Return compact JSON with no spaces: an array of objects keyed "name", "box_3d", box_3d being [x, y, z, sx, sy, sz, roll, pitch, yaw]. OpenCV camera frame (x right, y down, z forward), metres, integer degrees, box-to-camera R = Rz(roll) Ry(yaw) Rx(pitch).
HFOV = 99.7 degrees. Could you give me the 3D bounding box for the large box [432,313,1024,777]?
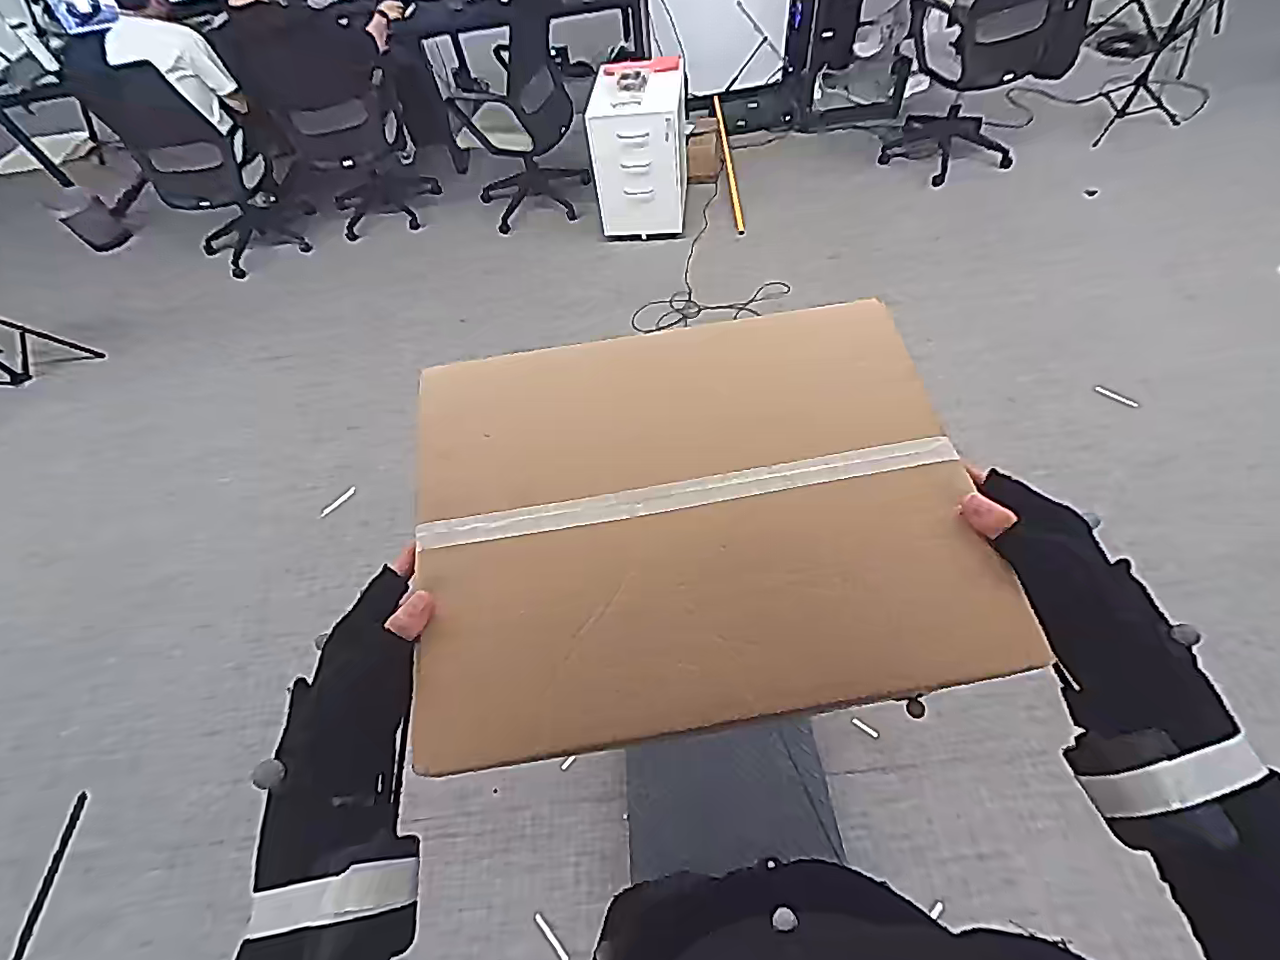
[{"name":"large box","box_3d":[0.047,0.082,0.550,0.408,0.320,0.320,-10,64,-1]}]
